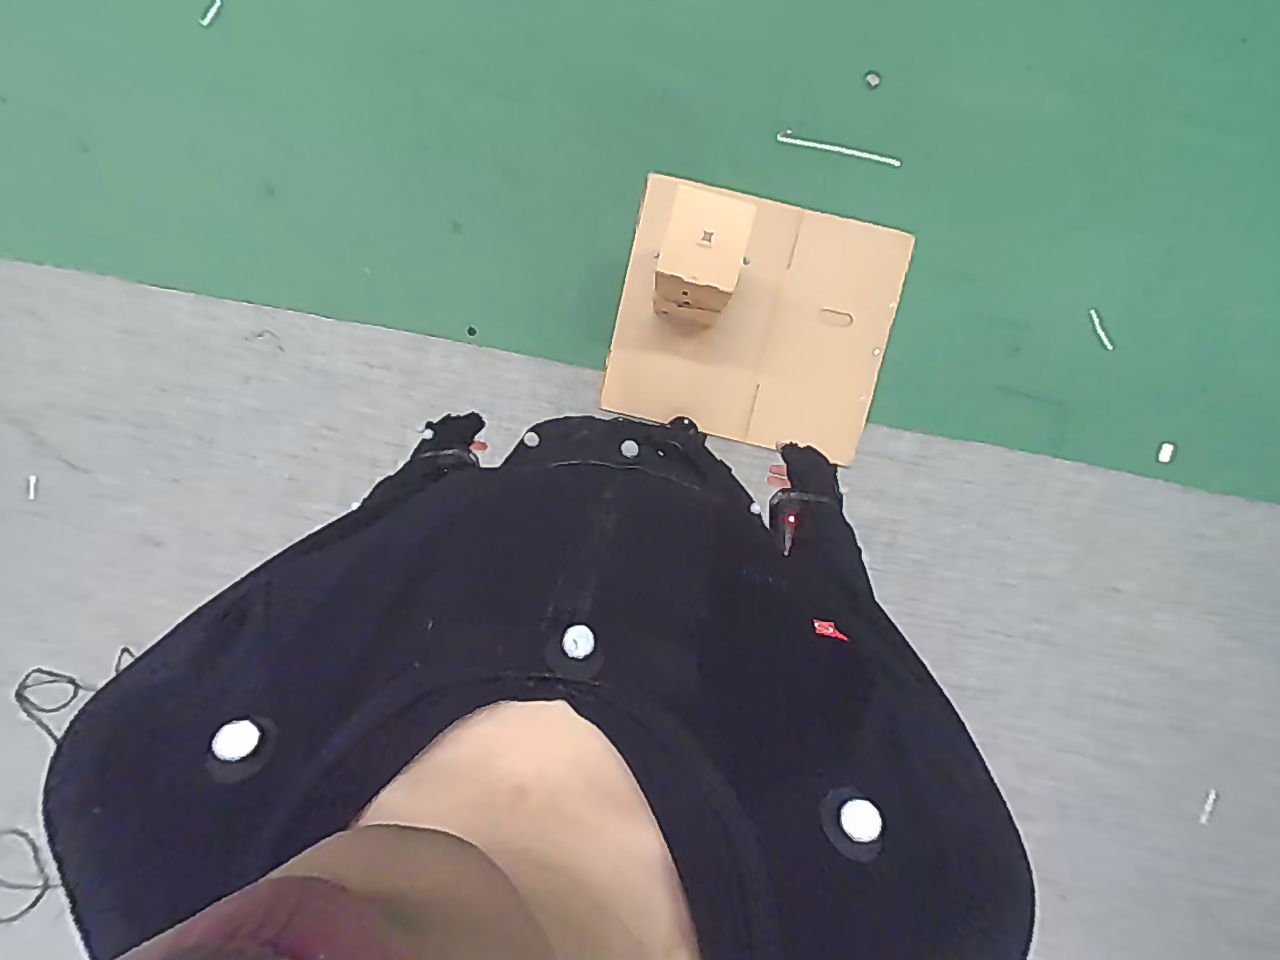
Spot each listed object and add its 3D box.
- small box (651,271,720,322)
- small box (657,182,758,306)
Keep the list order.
[{"bbox_3d":[0.129,-0.496,1.307,0.168,0.176,0.179,14,96,0],"label":"small box"},{"bbox_3d":[0.133,-0.488,1.144,0.168,0.176,0.179,16,97,-1],"label":"small box"}]
